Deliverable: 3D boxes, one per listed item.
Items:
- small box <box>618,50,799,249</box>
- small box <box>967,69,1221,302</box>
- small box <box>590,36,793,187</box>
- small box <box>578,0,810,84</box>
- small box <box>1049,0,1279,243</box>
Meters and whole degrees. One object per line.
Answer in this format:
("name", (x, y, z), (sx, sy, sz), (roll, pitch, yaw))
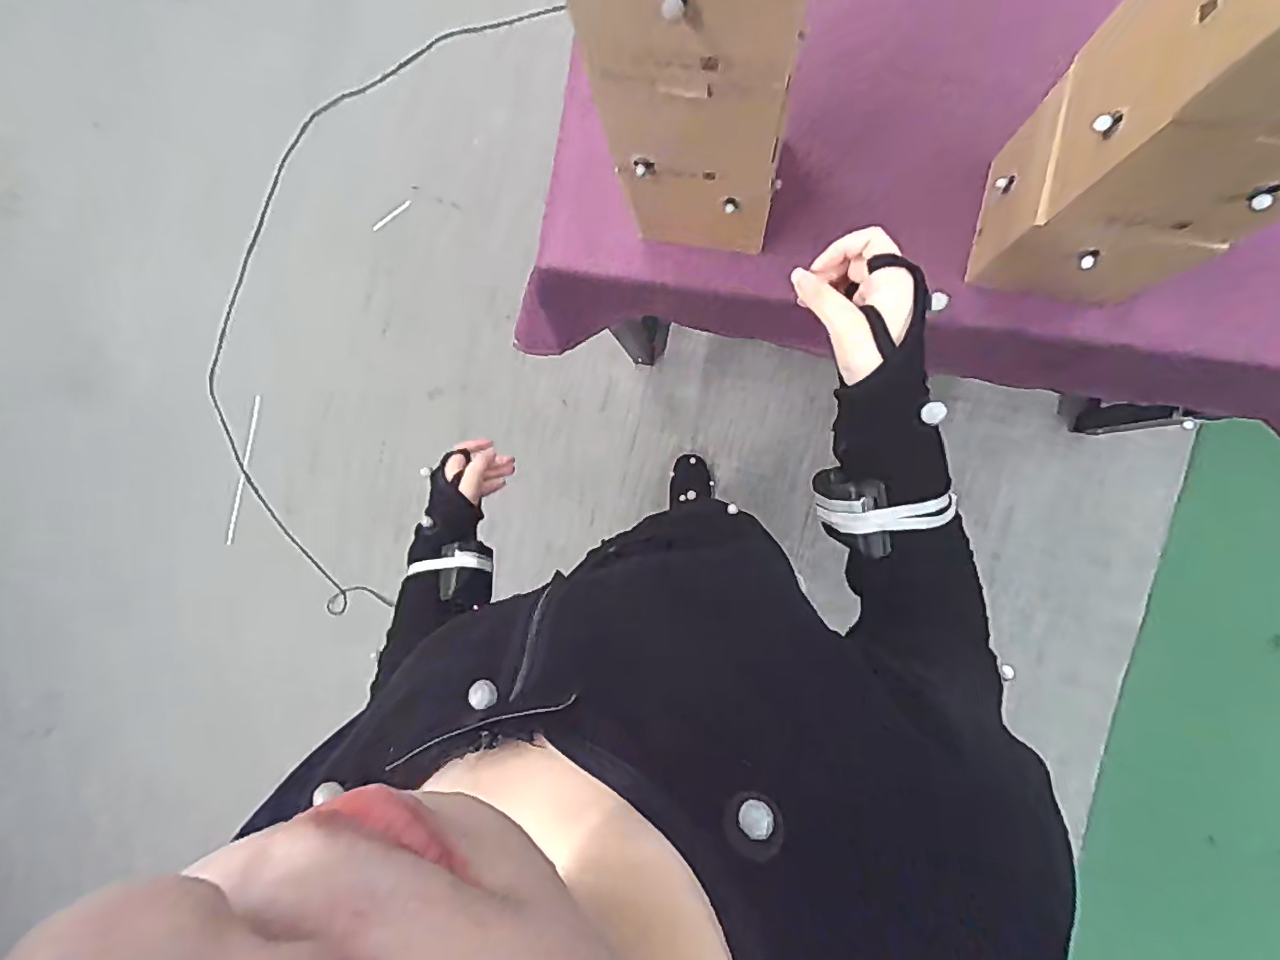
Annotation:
("small box", (0.085, -0.411, 0.679), (0.179, 0.176, 0.168), (11, 92, 7))
("small box", (0.510, -0.318, 0.616), (0.179, 0.176, 0.168), (13, 93, 8))
("small box", (0.063, -0.412, 0.516), (0.168, 0.176, 0.179), (11, 90, 7))
("small box", (0.045, -0.404, 0.352), (0.168, 0.176, 0.179), (12, 92, 7))
("small box", (0.488, -0.323, 0.454), (0.168, 0.176, 0.179), (11, 91, 8))
